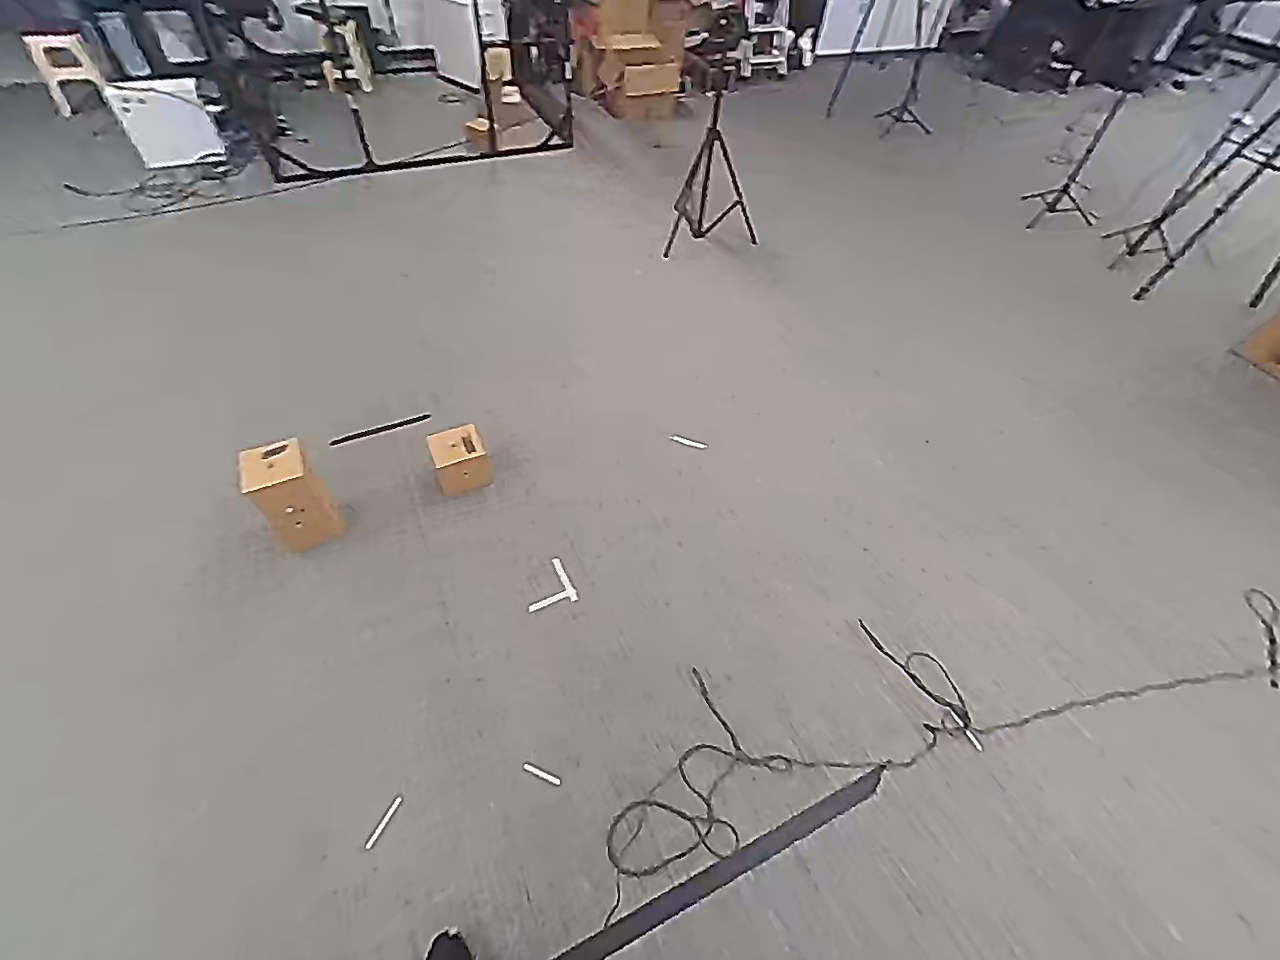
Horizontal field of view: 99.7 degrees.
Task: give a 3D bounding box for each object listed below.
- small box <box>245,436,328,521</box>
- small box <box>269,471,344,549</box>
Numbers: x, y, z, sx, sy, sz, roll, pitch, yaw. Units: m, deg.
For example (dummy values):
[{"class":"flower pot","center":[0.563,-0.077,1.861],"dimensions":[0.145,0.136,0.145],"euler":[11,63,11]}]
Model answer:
[{"class":"small box","center":[-1.109,-0.004,1.699],"dimensions":[0.168,0.176,0.179],"euler":[-20,56,-18]},{"class":"small box","center":[-1.122,0.102,1.824],"dimensions":[0.179,0.176,0.168],"euler":[-20,56,-18]}]
